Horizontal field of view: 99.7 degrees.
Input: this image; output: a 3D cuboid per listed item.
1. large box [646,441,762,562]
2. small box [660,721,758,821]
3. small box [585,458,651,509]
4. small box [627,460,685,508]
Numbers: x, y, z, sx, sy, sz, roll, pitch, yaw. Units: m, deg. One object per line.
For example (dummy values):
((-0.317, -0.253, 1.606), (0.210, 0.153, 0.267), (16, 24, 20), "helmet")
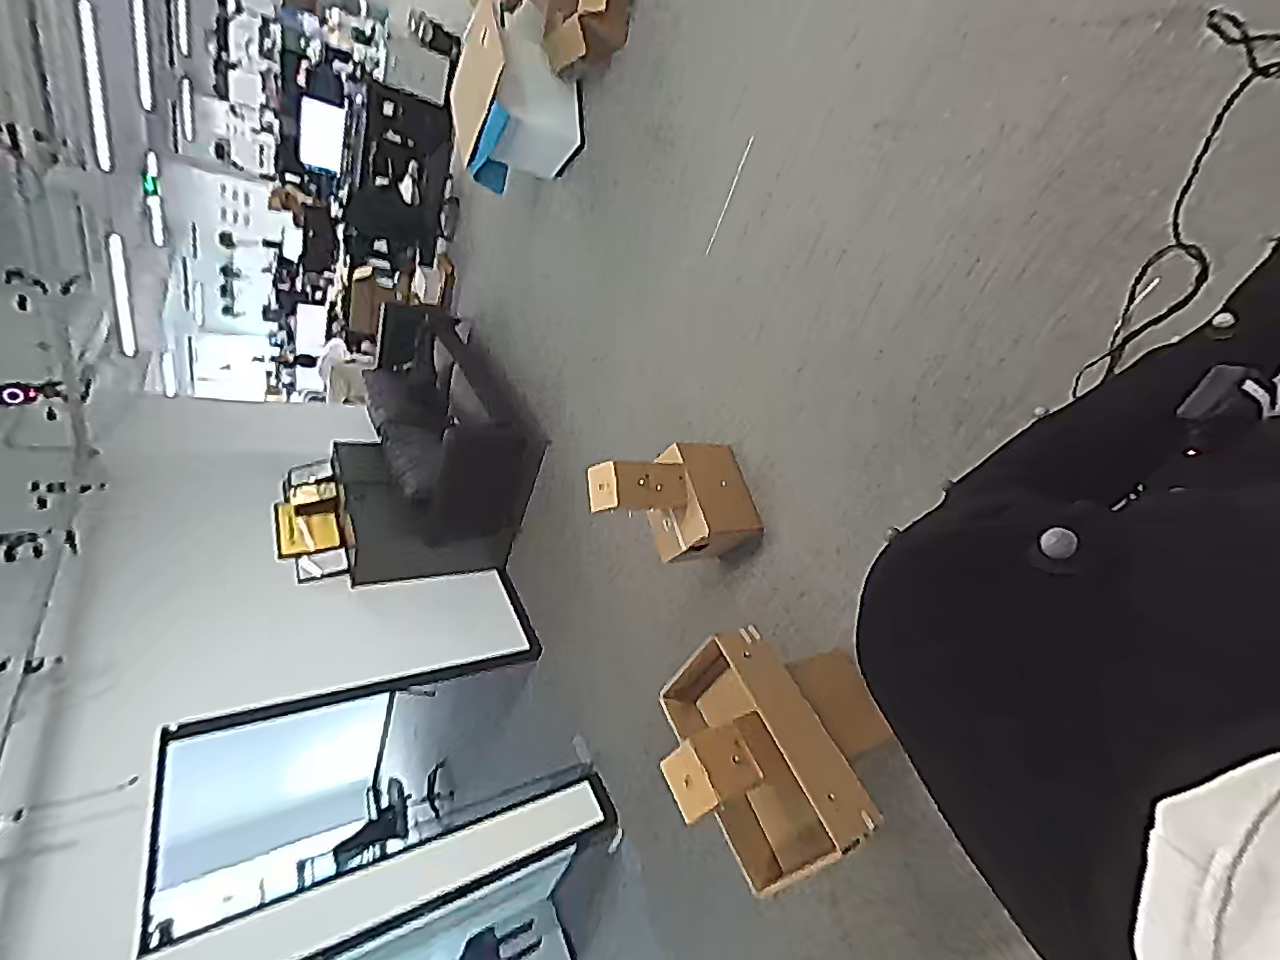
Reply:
((0.239, 0.085, 2.261), (0.320, 0.320, 0.408), (-44, 58, 45), "large box")
((0.189, 0.794, 1.486), (0.168, 0.176, 0.179), (58, 133, 33), "small box")
((-0.081, 0.016, 2.001), (0.179, 0.176, 0.168), (-16, 78, 50), "small box")
((0.052, 0.018, 2.100), (0.179, 0.176, 0.168), (-15, 79, 52), "small box")
